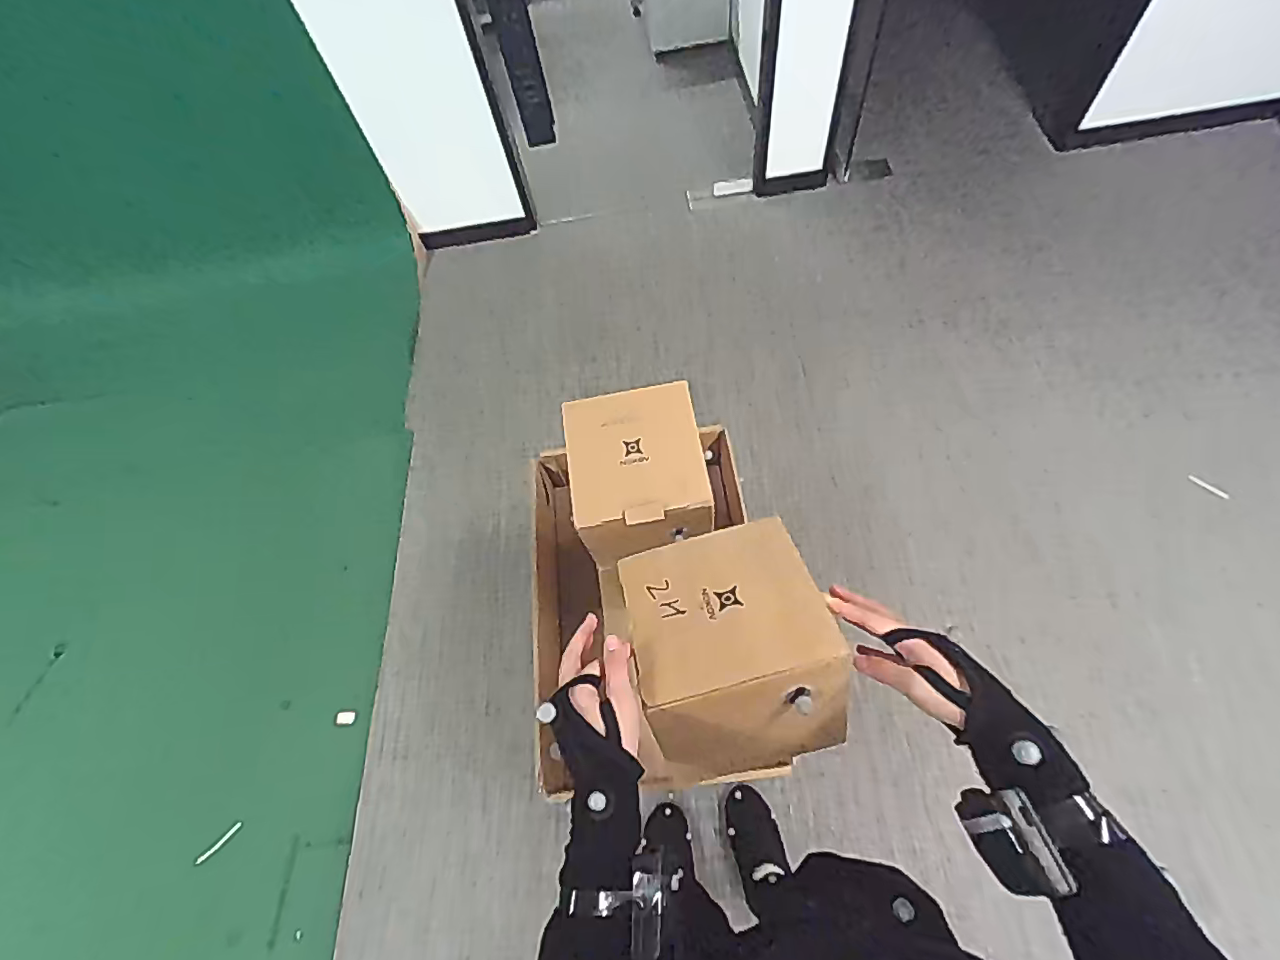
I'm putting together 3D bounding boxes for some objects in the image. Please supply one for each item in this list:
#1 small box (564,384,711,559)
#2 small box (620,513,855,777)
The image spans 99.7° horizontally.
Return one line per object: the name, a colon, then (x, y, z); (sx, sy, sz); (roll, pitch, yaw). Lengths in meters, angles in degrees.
small box: (0.001, 0.000, 0.730); (0.168, 0.176, 0.179); (-9, 65, 2)
small box: (0.091, 0.164, 0.537); (0.179, 0.176, 0.168); (-16, 40, 2)
